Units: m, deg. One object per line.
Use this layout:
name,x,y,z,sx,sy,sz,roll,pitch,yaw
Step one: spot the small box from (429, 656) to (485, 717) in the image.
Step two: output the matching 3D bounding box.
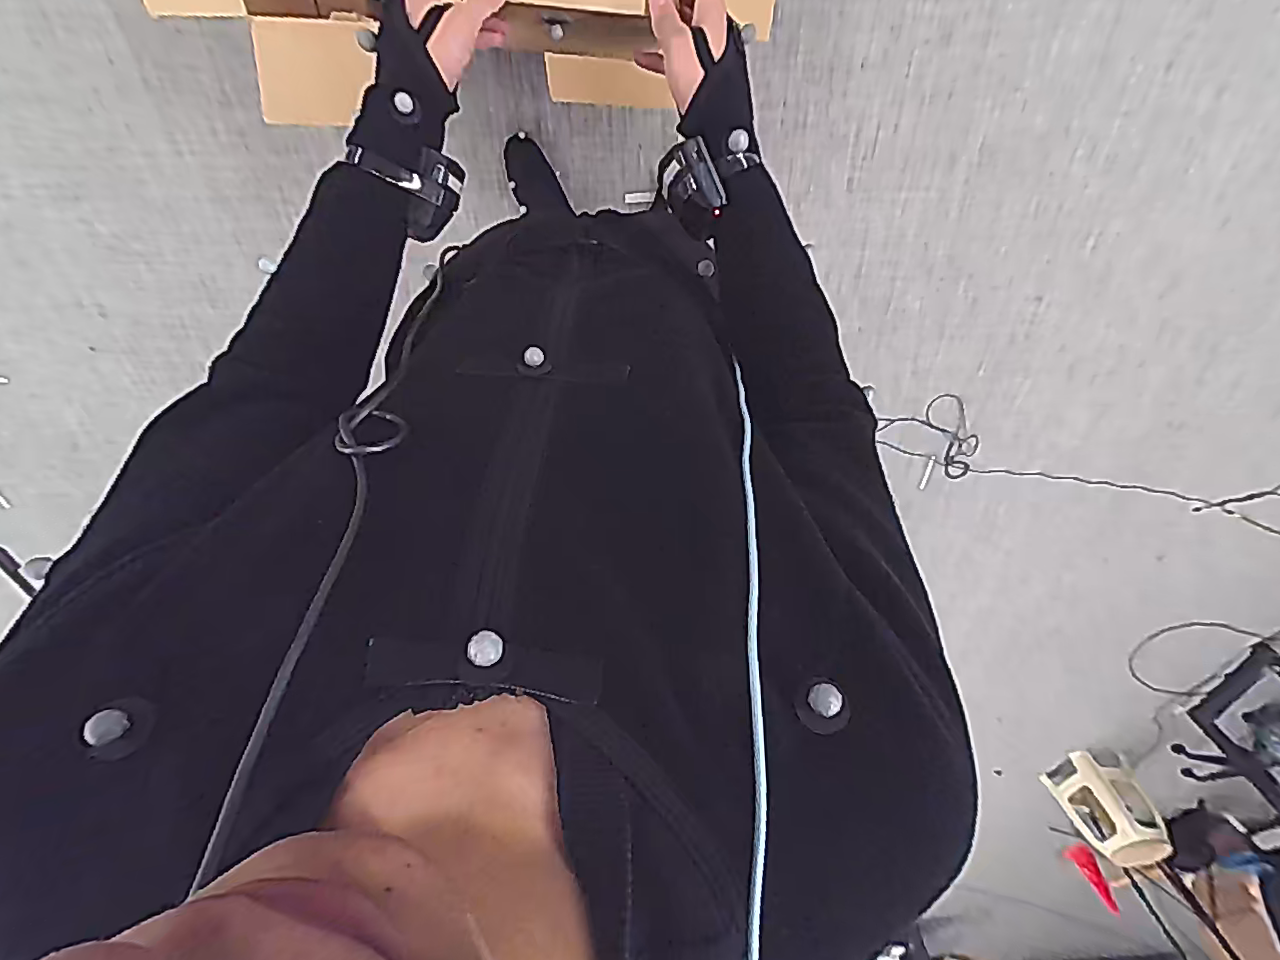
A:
small box,-0.730,0.825,2.172,0.168,0.176,0.179,-1,127,-2

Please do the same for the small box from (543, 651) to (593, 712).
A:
small box,-0.285,0.810,2.181,0.179,0.176,0.168,-3,126,0

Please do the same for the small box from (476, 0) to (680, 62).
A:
small box,-0.055,-0.478,0.459,0.179,0.176,0.168,1,118,-7
